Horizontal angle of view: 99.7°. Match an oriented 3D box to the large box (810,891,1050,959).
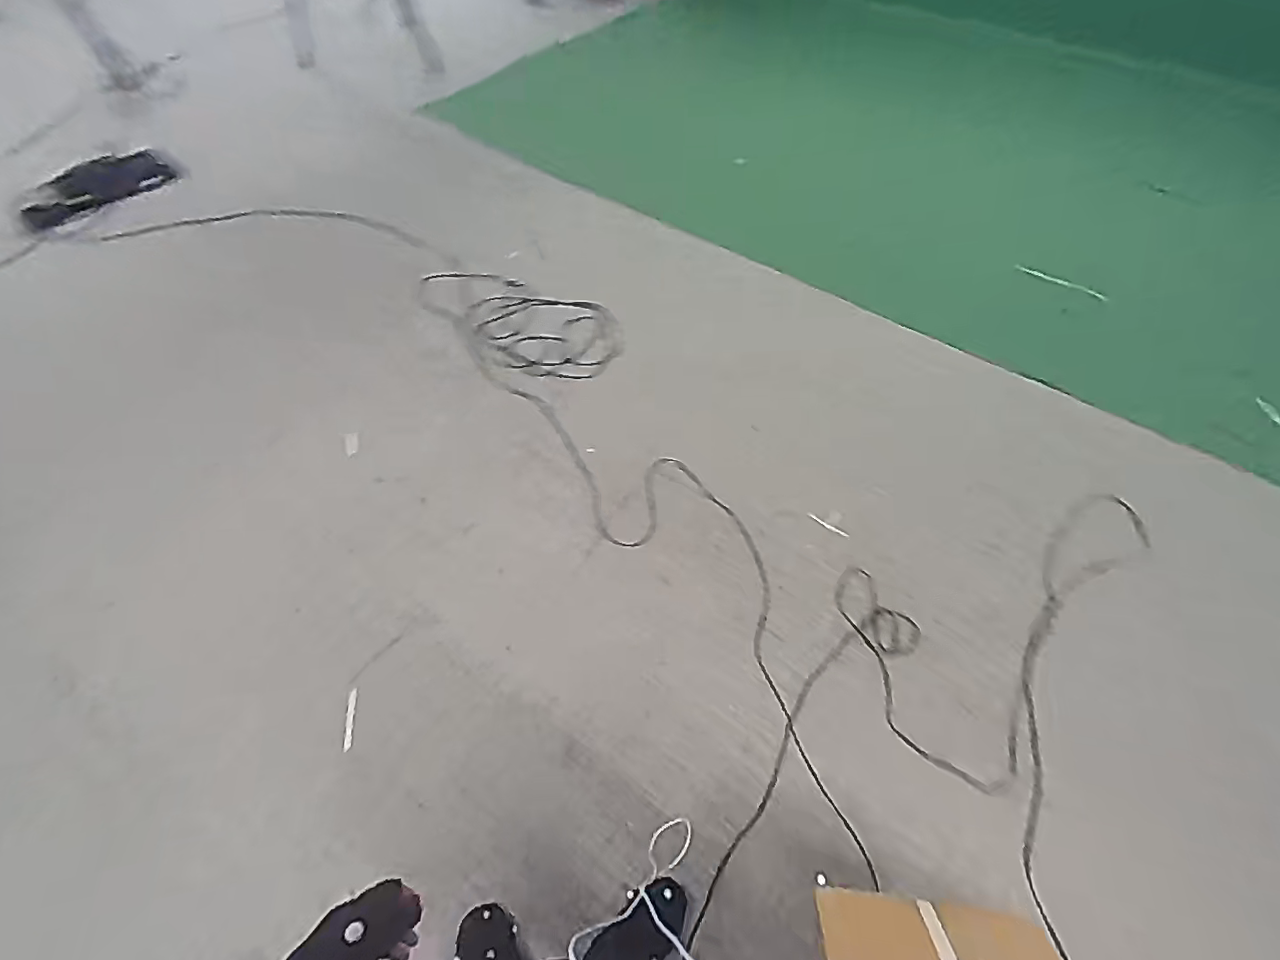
[{"bbox_3d":[0.385,0.797,0.632,0.320,0.408,0.320,2,90,10],"label":"large box"}]
